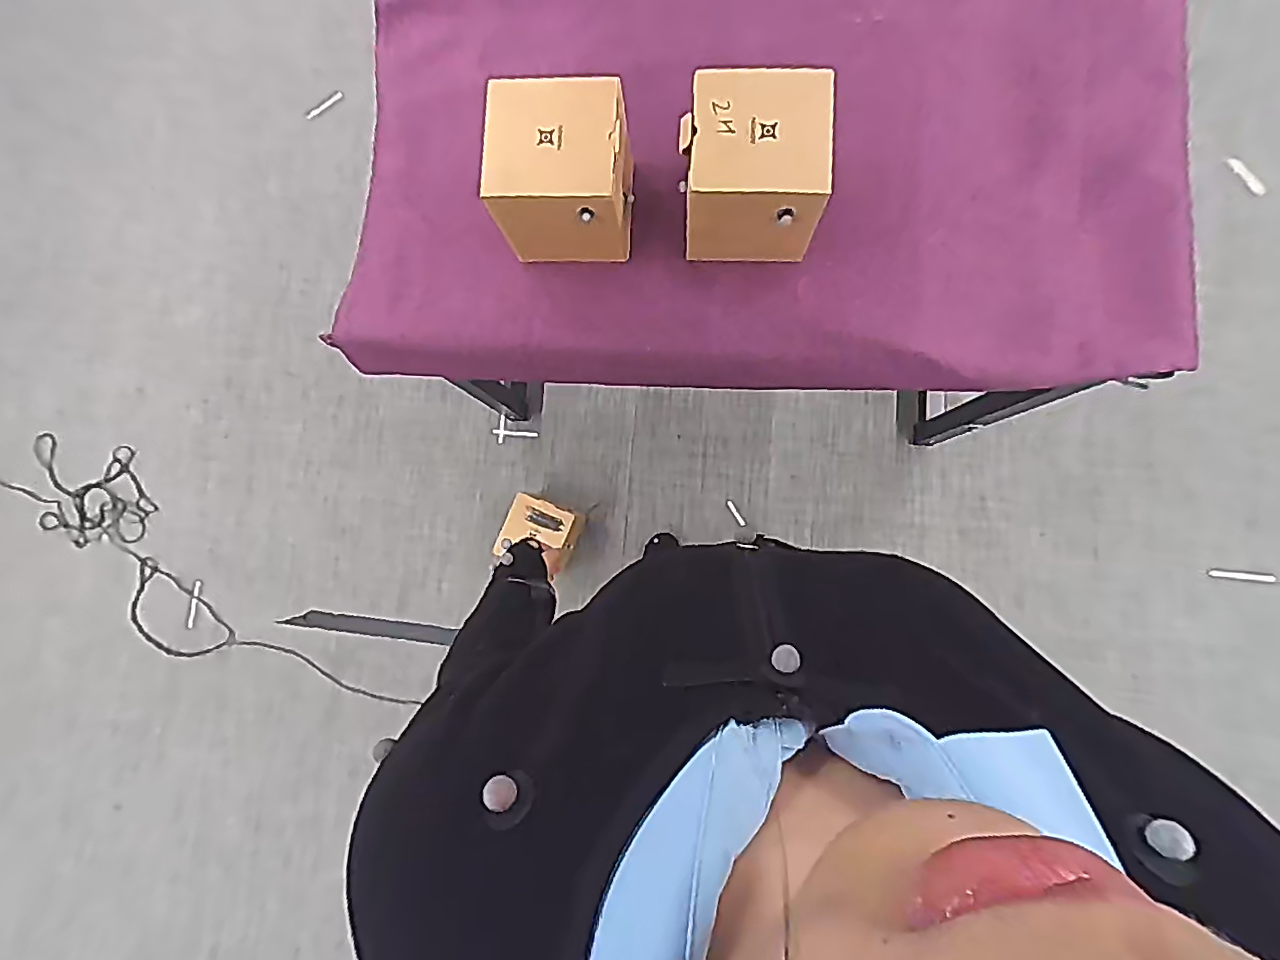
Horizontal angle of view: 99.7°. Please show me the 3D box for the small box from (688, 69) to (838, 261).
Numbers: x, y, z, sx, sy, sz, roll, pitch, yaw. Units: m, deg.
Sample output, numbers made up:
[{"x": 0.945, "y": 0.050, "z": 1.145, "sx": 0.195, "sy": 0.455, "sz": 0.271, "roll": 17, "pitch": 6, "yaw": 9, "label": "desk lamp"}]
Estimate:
[{"x": 0.159, "y": -0.421, "z": 0.746, "sx": 0.179, "sy": 0.176, "sz": 0.168, "roll": 3, "pitch": 84, "yaw": 5, "label": "small box"}]

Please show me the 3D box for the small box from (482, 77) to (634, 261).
[{"x": -0.106, "y": -0.429, "z": 0.771, "sx": 0.179, "sy": 0.176, "sz": 0.168, "roll": 2, "pitch": 84, "yaw": 4, "label": "small box"}]
